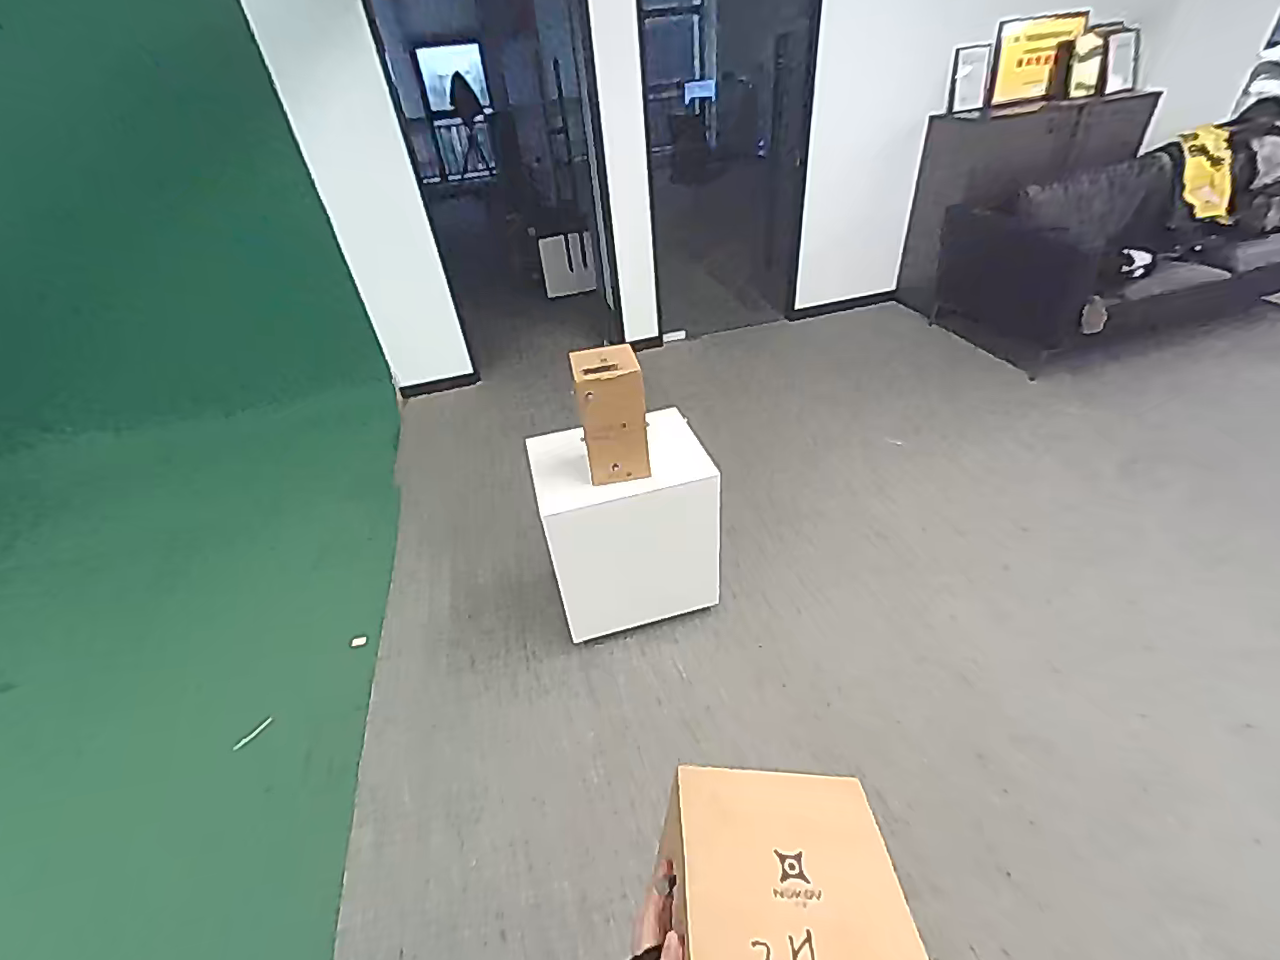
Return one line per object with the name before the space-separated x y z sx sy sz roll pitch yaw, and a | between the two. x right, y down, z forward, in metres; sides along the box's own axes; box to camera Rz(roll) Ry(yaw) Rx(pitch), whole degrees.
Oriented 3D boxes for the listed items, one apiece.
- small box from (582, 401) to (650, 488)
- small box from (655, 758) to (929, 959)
small box | -0.068 -0.101 1.526 0.168 0.176 0.179 -10 37 -4
small box | 0.103 0.361 0.436 0.168 0.176 0.179 5 27 -2
